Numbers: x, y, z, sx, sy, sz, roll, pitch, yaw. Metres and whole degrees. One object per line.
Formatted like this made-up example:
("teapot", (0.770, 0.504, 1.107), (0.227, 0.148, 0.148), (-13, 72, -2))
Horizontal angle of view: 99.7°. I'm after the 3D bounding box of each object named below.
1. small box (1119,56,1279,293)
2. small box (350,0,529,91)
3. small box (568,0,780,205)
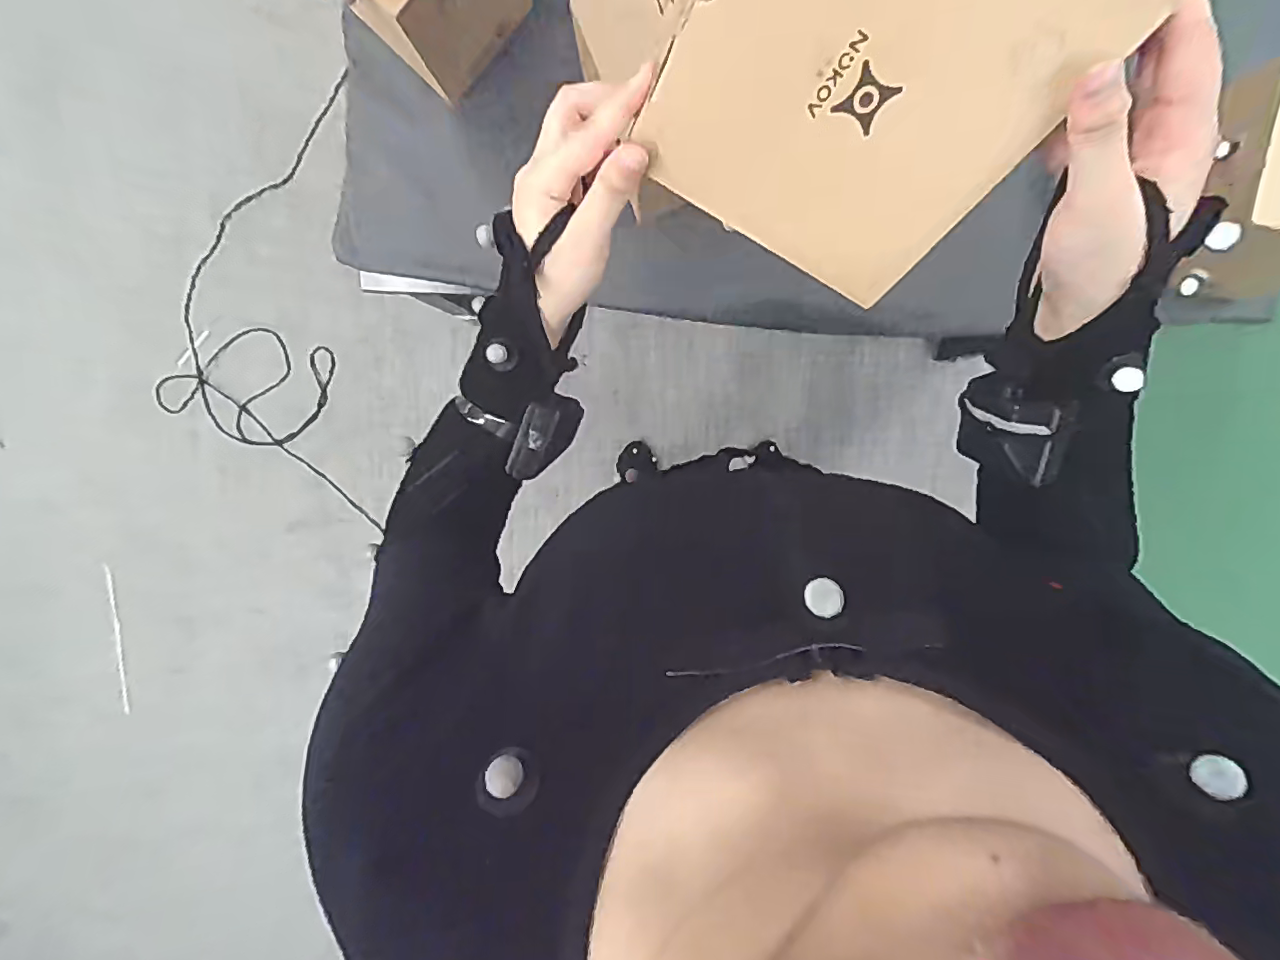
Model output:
("small box", (0.691, -0.329, 0.597), (0.168, 0.176, 0.179), (11, 94, 2))
("small box", (-0.253, -0.595, 0.601), (0.179, 0.176, 0.168), (43, 97, -4))
("small box", (0.037, -0.441, 0.611), (0.168, 0.176, 0.179), (-22, 96, 4))
